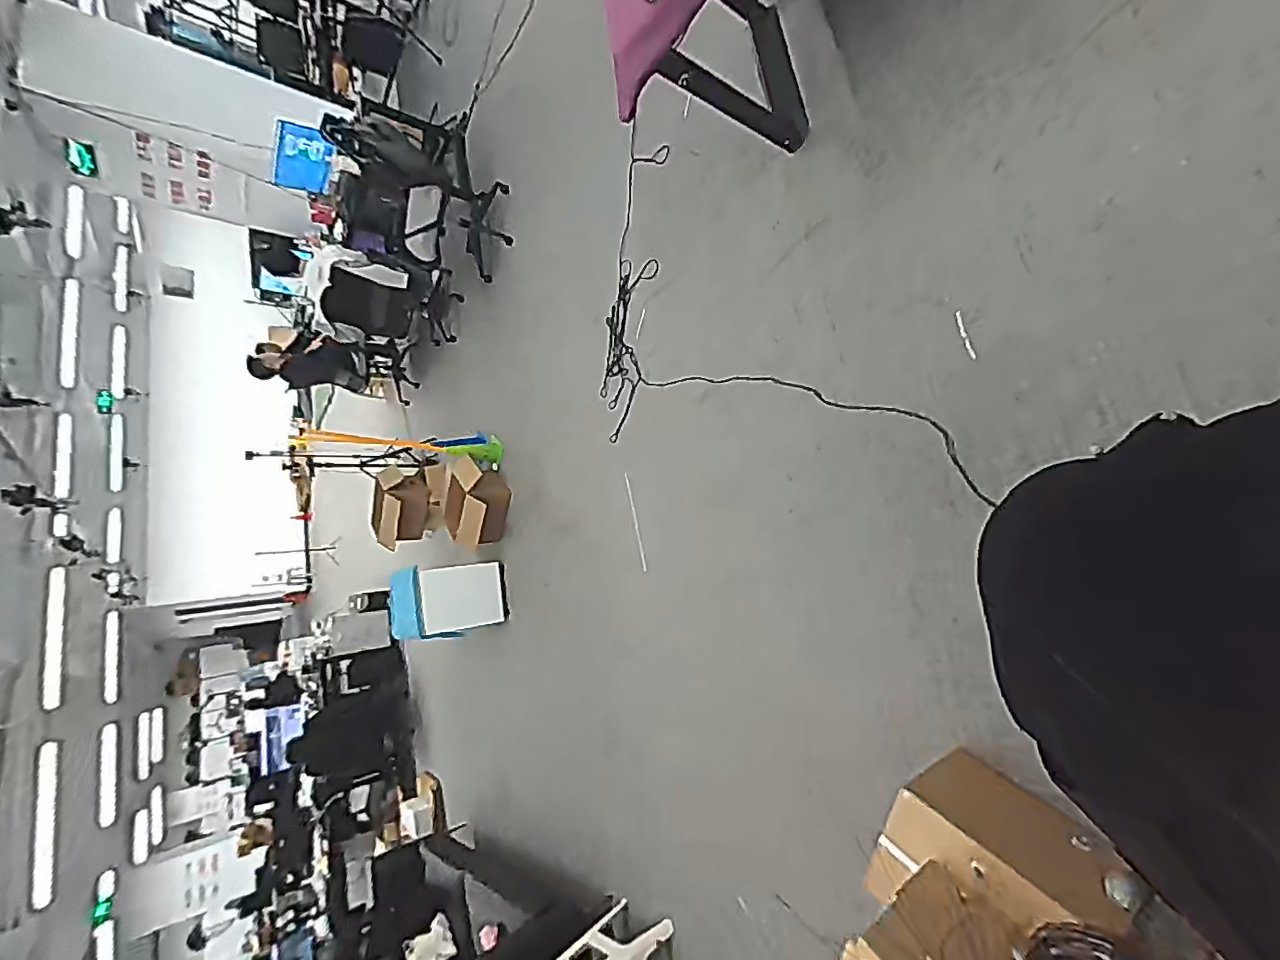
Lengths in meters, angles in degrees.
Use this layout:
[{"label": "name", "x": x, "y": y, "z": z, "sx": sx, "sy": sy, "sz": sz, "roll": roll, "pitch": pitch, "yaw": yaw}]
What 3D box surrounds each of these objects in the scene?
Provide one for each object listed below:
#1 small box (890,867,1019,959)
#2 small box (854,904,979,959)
[{"label": "small box", "x": 0.625, "y": 0.934, "z": 1.096, "sx": 0.179, "sy": 0.176, "sz": 0.168, "roll": 21, "pitch": 109, "yaw": 50}, {"label": "small box", "x": 0.503, "y": 0.924, "z": 0.983, "sx": 0.179, "sy": 0.176, "sz": 0.168, "roll": 26, "pitch": 112, "yaw": 47}]
